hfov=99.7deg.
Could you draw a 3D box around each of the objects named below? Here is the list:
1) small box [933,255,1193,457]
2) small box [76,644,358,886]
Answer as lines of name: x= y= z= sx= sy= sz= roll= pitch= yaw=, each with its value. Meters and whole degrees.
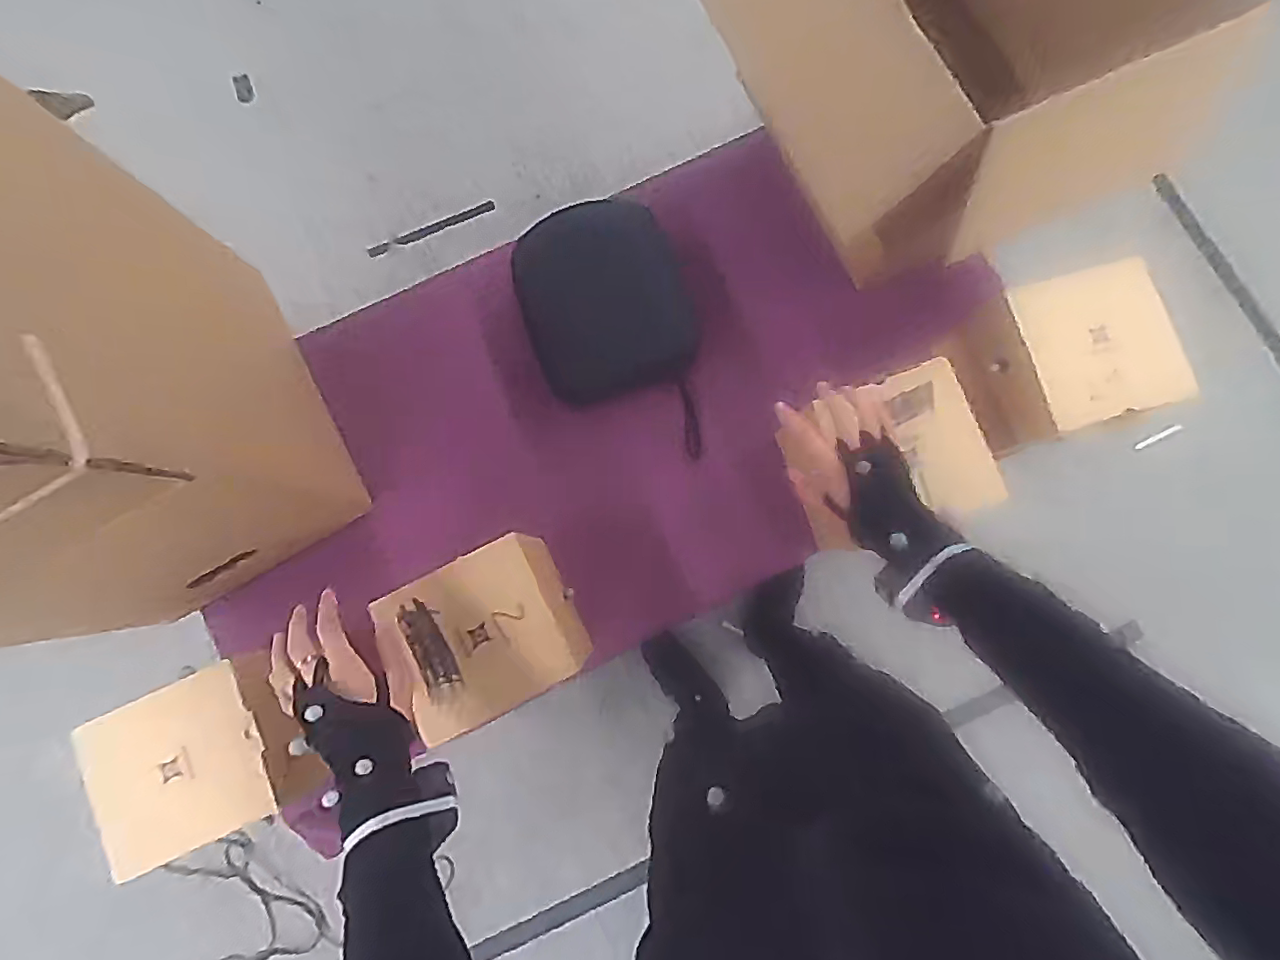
small box: x=0.507 y=-0.144 z=0.682 sx=0.168 sy=0.176 sz=0.179 roll=-15 pitch=81 yaw=0
small box: x=-0.475 y=0.312 z=0.634 sx=0.179 sy=0.176 sz=0.168 roll=-25 pitch=82 yaw=-4
